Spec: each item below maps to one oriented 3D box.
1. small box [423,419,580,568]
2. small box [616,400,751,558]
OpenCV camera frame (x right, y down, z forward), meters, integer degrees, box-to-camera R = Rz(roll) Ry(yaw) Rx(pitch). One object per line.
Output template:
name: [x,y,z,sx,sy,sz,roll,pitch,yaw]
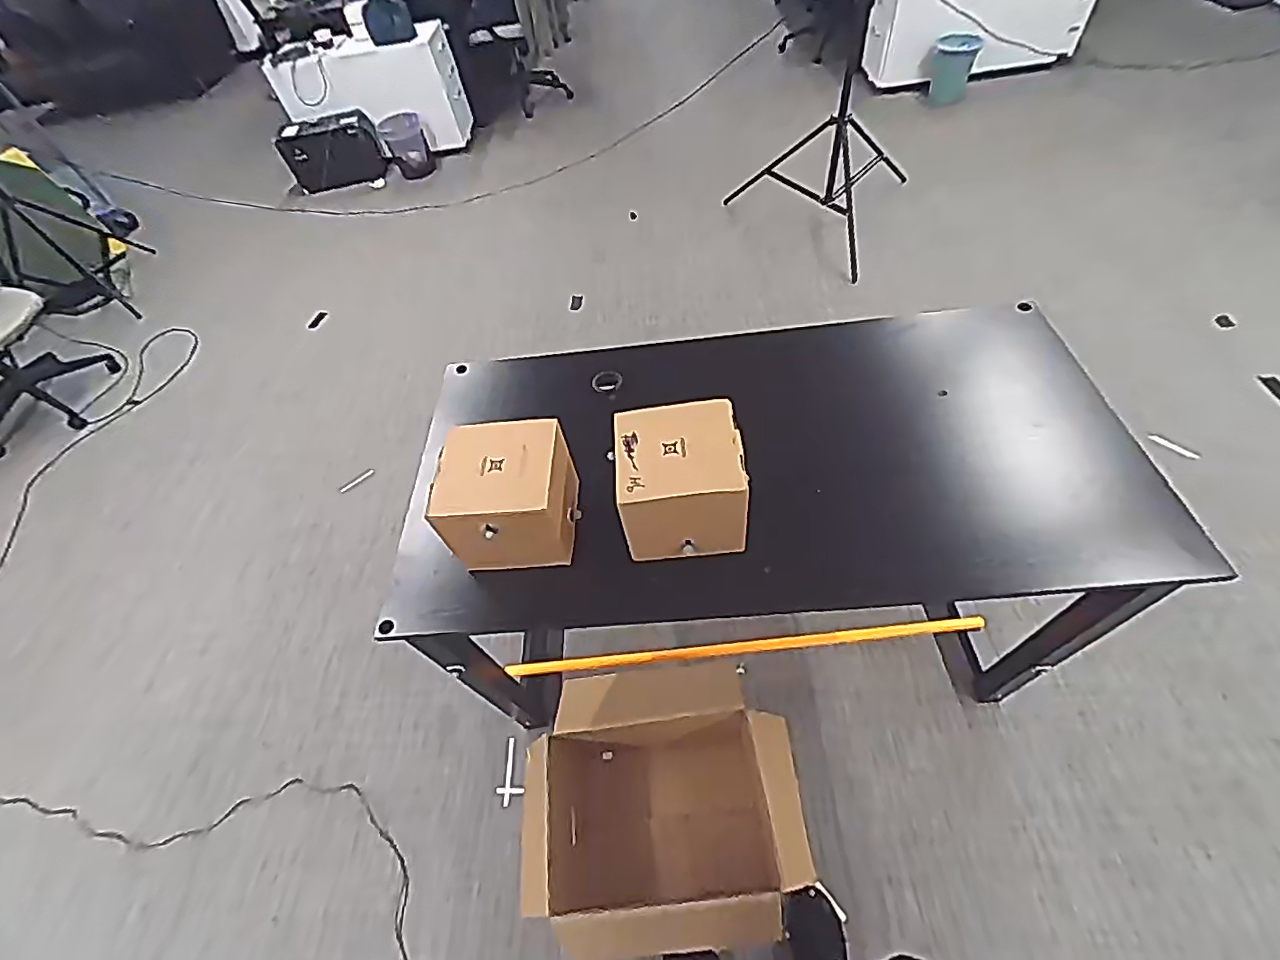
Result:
small box: [-0.200,0.026,0.835,0.179,0.176,0.168,-3,54,5]
small box: [0.062,0.004,0.813,0.179,0.176,0.168,-6,53,3]
